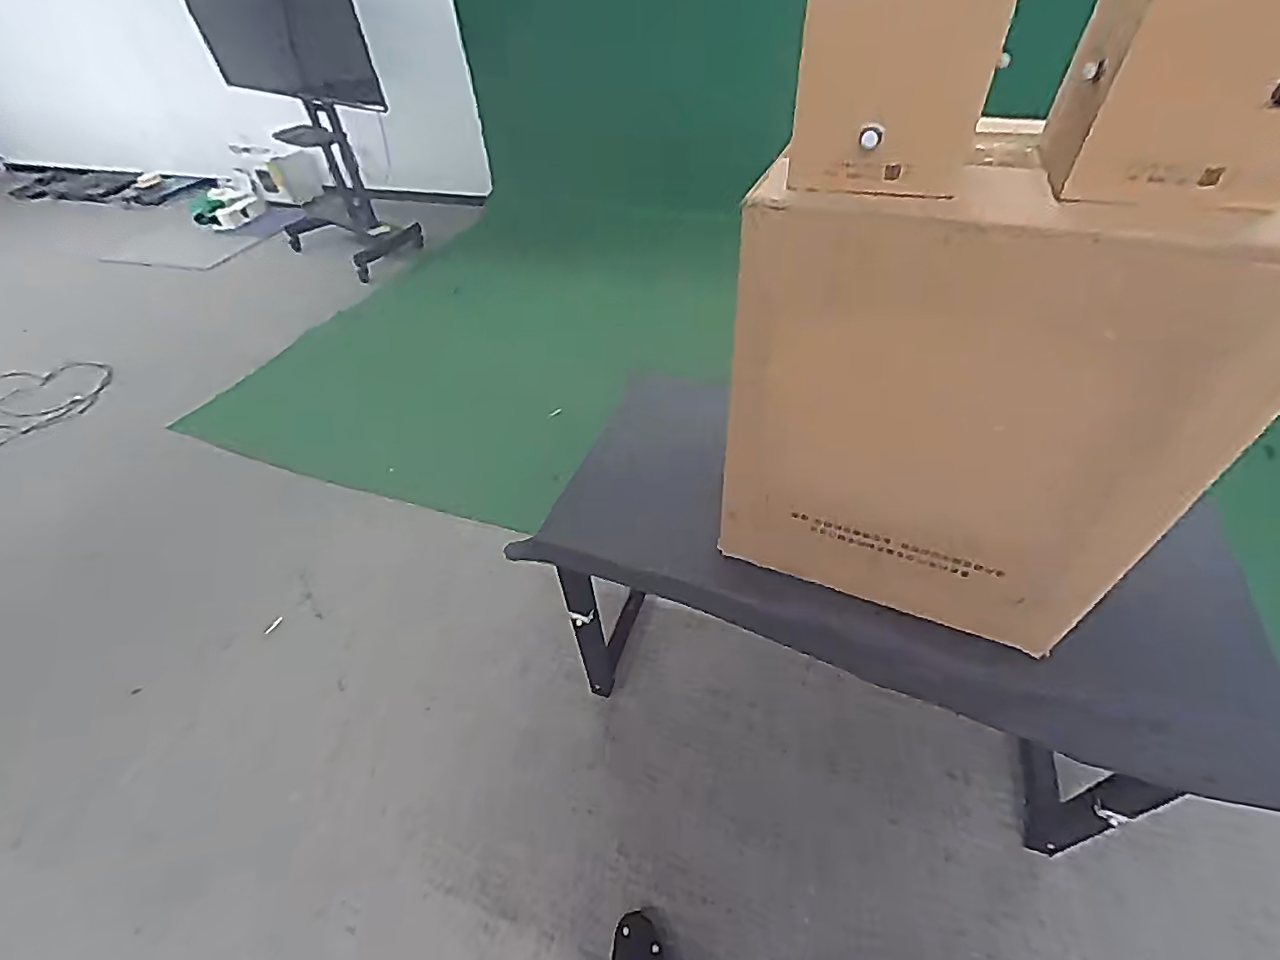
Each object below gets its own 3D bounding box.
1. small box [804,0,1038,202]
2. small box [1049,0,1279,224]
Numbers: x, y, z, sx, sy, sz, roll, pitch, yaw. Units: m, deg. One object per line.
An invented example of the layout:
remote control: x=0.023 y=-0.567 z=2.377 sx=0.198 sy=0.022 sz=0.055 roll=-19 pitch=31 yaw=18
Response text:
small box: x=0.273 y=-0.402 z=0.539 sx=0.168 sy=0.176 sz=0.179 roll=17 pitch=51 yaw=20
small box: x=0.505 y=-0.347 z=0.479 sx=0.168 sy=0.176 sz=0.179 roll=14 pitch=49 yaw=13
